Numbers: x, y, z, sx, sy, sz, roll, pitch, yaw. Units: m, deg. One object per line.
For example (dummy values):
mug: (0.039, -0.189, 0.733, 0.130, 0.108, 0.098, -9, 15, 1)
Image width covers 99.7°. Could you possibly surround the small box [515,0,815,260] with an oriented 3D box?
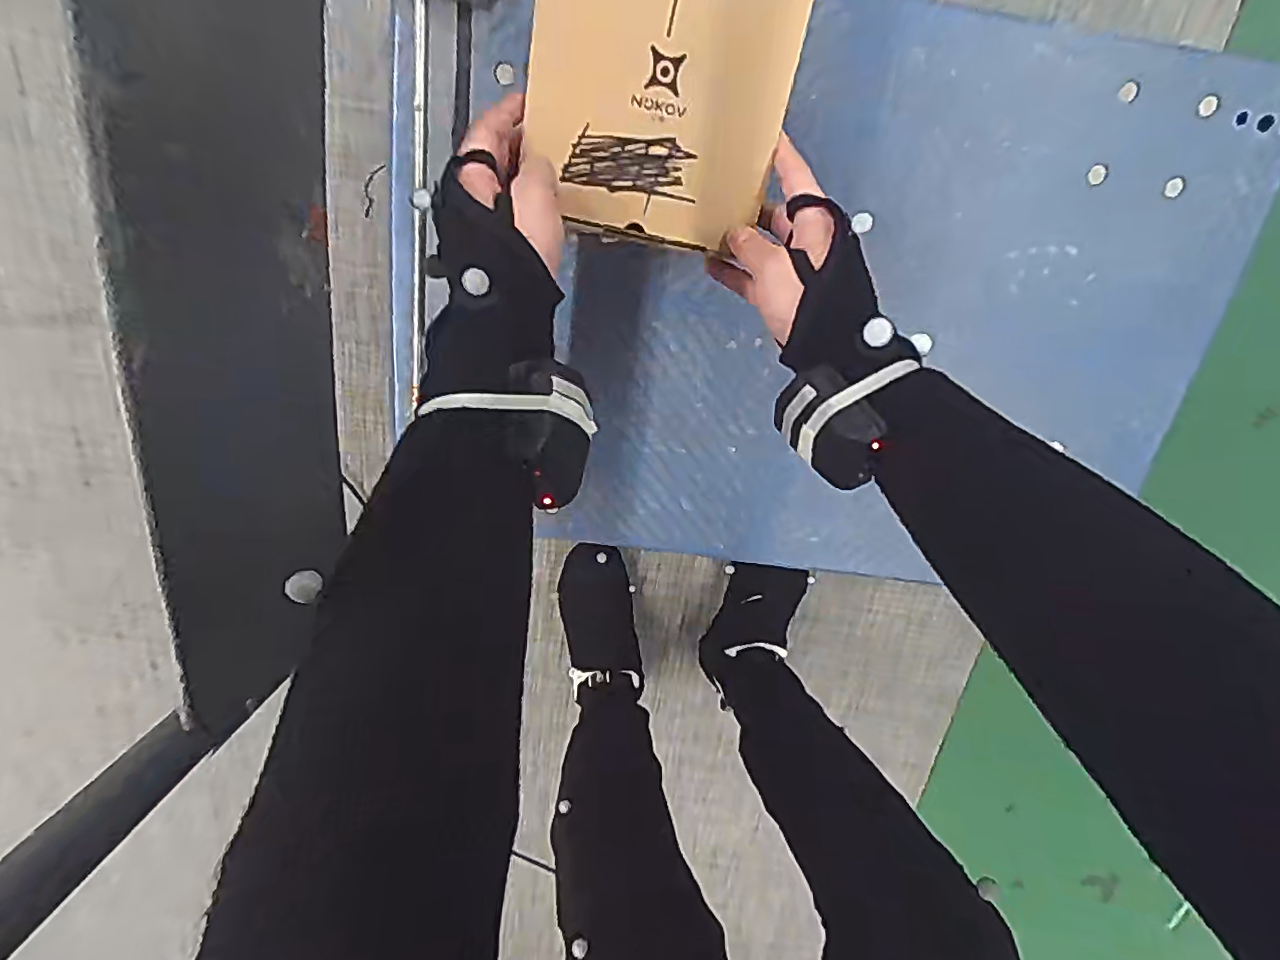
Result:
small box: (0.009, -0.277, 0.412, 0.168, 0.176, 0.179, 9, 111, -7)
